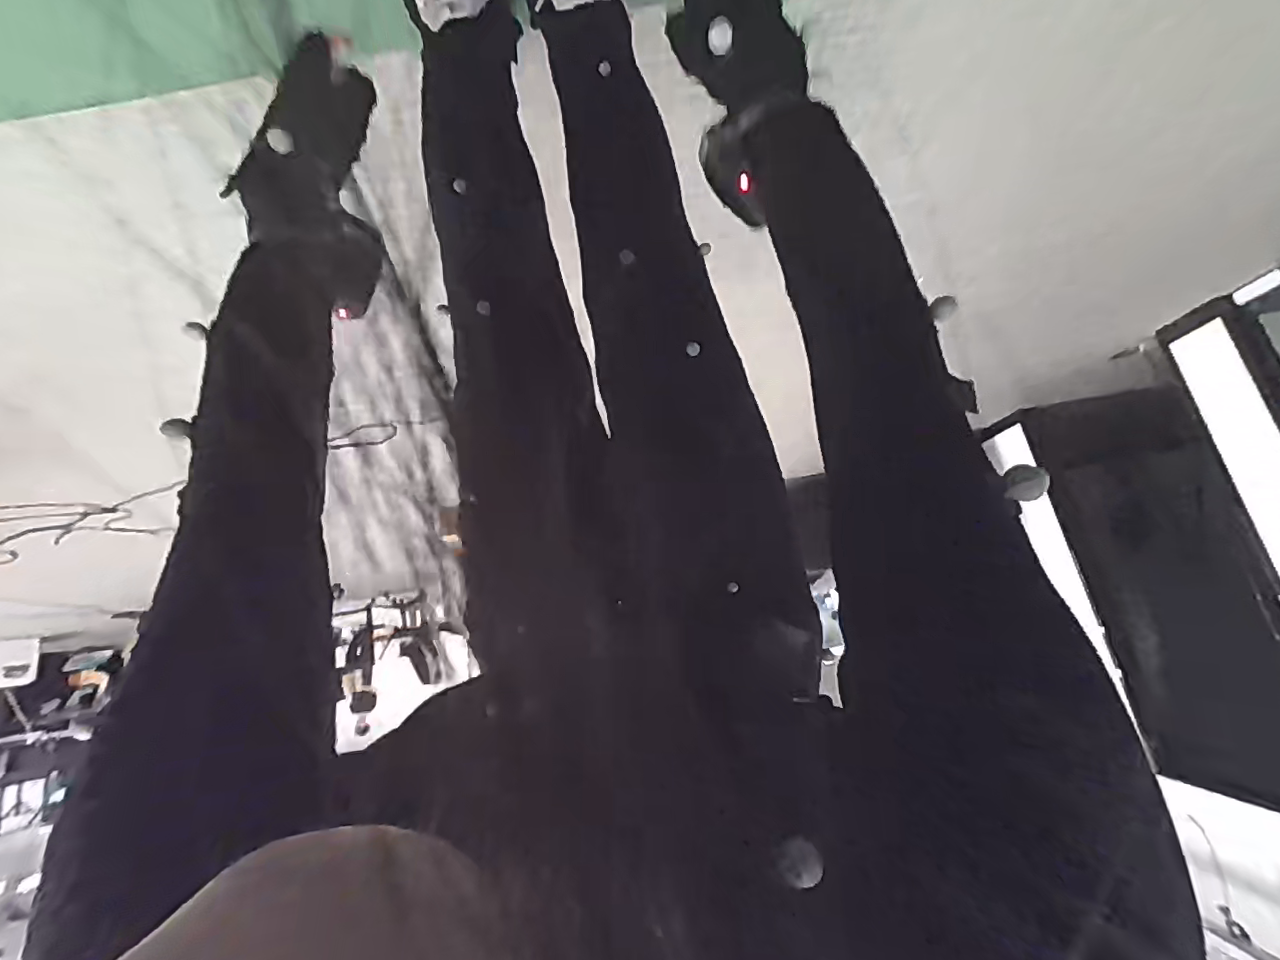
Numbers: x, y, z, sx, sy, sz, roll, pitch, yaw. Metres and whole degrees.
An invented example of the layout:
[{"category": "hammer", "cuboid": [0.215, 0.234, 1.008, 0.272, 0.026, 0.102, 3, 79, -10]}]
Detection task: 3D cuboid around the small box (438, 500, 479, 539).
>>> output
[{"category": "small box", "cuboid": [-1.020, 0.220, 3.026, 0.179, 0.176, 0.168, -12, 166, 0]}]
